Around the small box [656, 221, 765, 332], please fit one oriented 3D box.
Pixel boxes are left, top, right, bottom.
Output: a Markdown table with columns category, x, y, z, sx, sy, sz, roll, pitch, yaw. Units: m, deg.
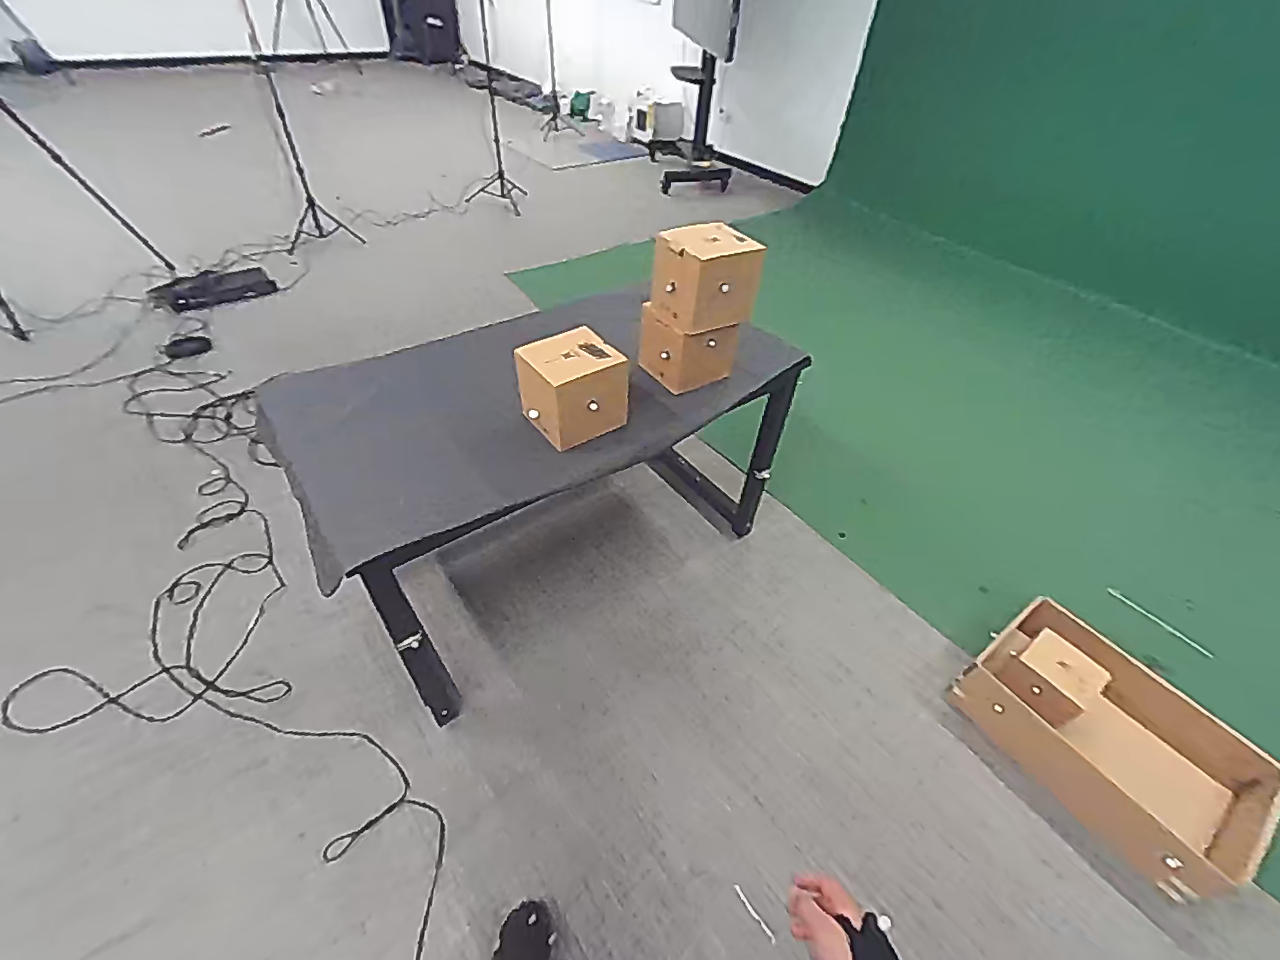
| category | x | y | z | sx | sy | sz | roll | pitch | yaw |
| --- | --- | --- | --- | --- | --- | --- | --- | --- | --- |
| small box | 0.146 | -0.448 | 1.195 | 0.179 | 0.176 | 0.168 | -21 | 50 | -24 |

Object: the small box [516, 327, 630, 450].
| category | x | y | z | sx | sy | sz | roll | pitch | yaw |
| --- | --- | --- | --- | --- | --- | --- | --- | --- | --- |
| small box | -0.140 | -0.193 | 1.143 | 0.179 | 0.176 | 0.168 | -27 | 51 | -26 |

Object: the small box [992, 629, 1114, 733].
| category | x | y | z | sx | sy | sz | roll | pitch | yaw |
| --- | --- | --- | --- | --- | --- | --- | --- | --- | --- |
| small box | 1.115 | 0.550 | 1.475 | 0.168 | 0.176 | 0.179 | -26 | 54 | -26 |

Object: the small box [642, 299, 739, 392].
| category | x | y | z | sx | sy | sz | roll | pitch | yaw |
| --- | --- | --- | --- | --- | --- | --- | --- | --- | --- |
| small box | 0.117 | -0.336 | 1.313 | 0.179 | 0.176 | 0.168 | -23 | 51 | -27 |
